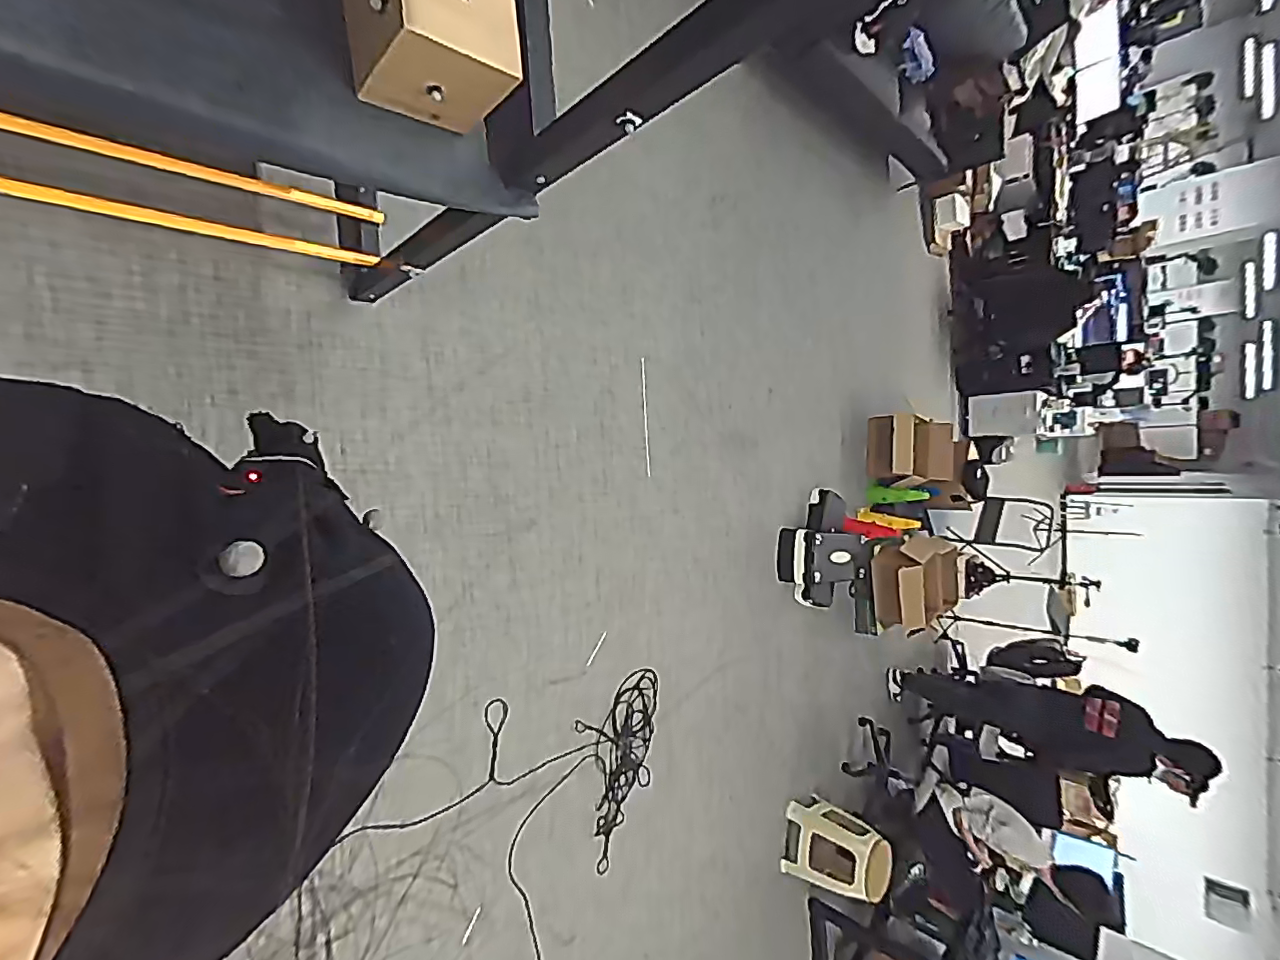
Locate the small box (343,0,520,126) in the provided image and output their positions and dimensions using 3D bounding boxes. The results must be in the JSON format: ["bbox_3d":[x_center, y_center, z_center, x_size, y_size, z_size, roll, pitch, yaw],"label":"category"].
[{"bbox_3d":[-0.286,-0.626,0.735,0.168,0.176,0.179,-11,98,-45],"label":"small box"}]
